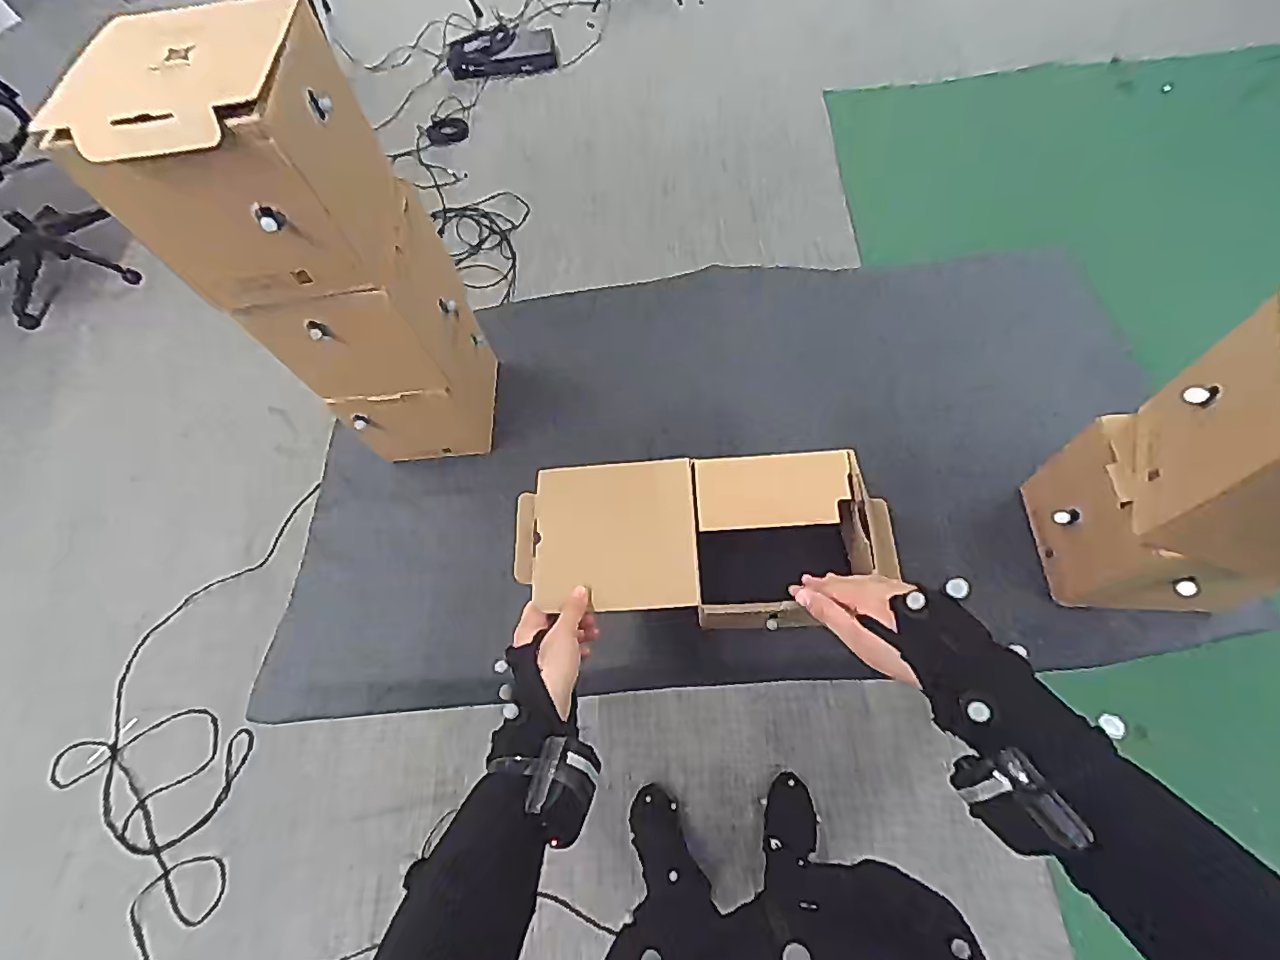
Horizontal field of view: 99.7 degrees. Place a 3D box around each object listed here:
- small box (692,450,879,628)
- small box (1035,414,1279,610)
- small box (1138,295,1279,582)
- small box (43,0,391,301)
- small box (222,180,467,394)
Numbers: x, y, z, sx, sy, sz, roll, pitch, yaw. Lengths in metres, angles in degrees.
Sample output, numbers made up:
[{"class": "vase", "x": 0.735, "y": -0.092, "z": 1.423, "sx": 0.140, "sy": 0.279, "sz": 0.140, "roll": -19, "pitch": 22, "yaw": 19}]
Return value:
[{"class": "small box", "x": 0.153, "y": 0.077, "z": 0.630, "sx": 0.179, "sy": 0.176, "sz": 0.168, "roll": -4, "pitch": 67, "yaw": 7}, {"class": "small box", "x": 0.581, "y": 0.041, "z": 0.601, "sx": 0.179, "sy": 0.176, "sz": 0.168, "roll": 0, "pitch": 62, "yaw": 7}, {"class": "small box", "x": 0.569, "y": -0.021, "z": 0.449, "sx": 0.179, "sy": 0.176, "sz": 0.168, "roll": 20, "pitch": 65, "yaw": 15}, {"class": "small box", "x": -0.348, "y": -0.283, "z": 0.491, "sx": 0.168, "sy": 0.176, "sz": 0.179, "roll": -7, "pitch": 64, "yaw": 1}, {"class": "small box", "x": -0.326, "y": -0.216, "z": 0.637, "sx": 0.179, "sy": 0.176, "sz": 0.168, "roll": -4, "pitch": 66, "yaw": 3}]
